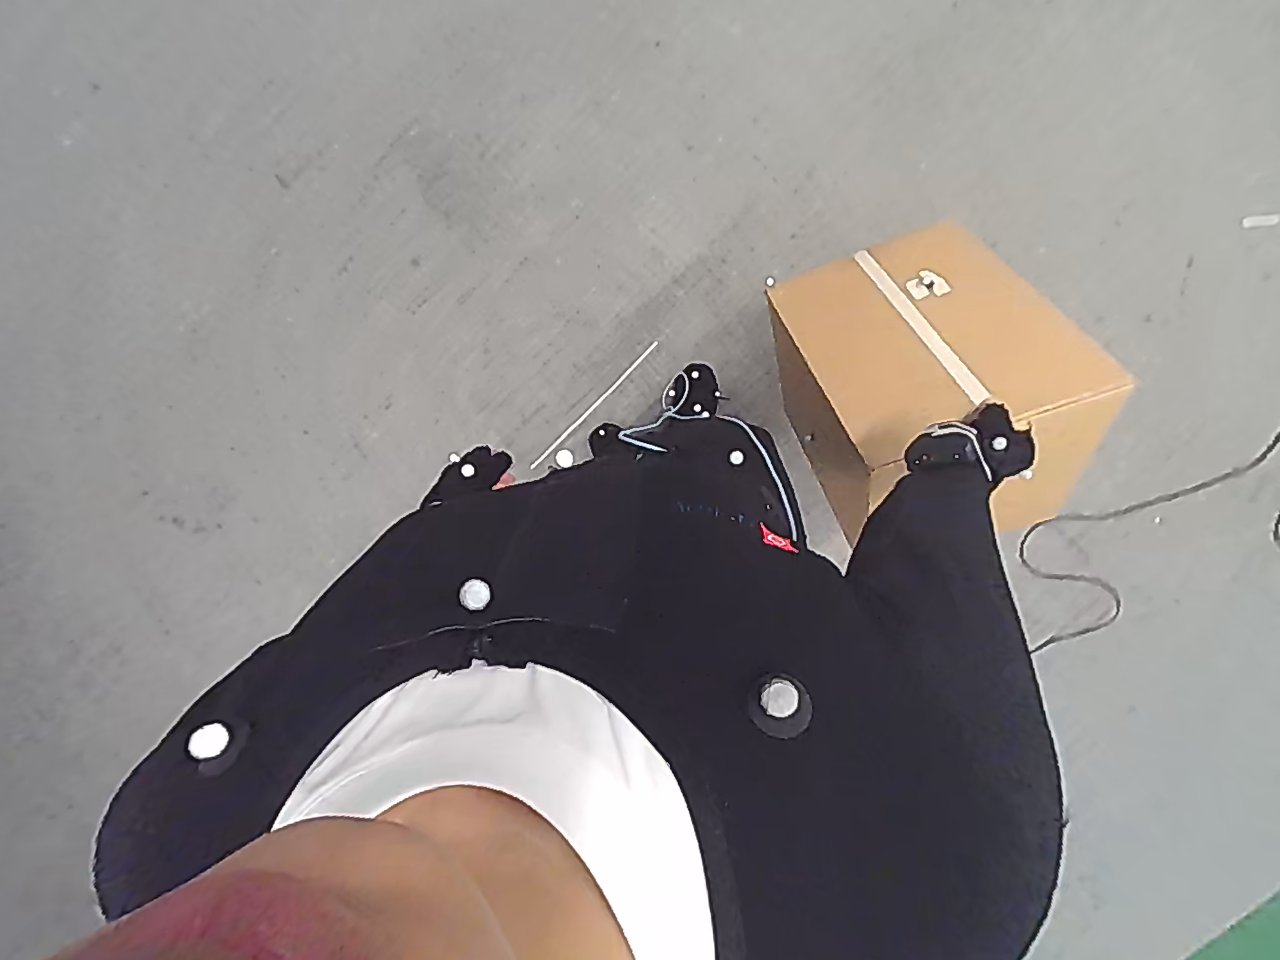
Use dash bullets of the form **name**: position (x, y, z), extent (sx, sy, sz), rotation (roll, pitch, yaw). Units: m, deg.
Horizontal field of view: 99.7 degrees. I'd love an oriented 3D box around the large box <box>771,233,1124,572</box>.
- **large box**: position (0.447, -0.122, 0.896), extent (0.320, 0.408, 0.320), rotation (-18, 141, 8)
